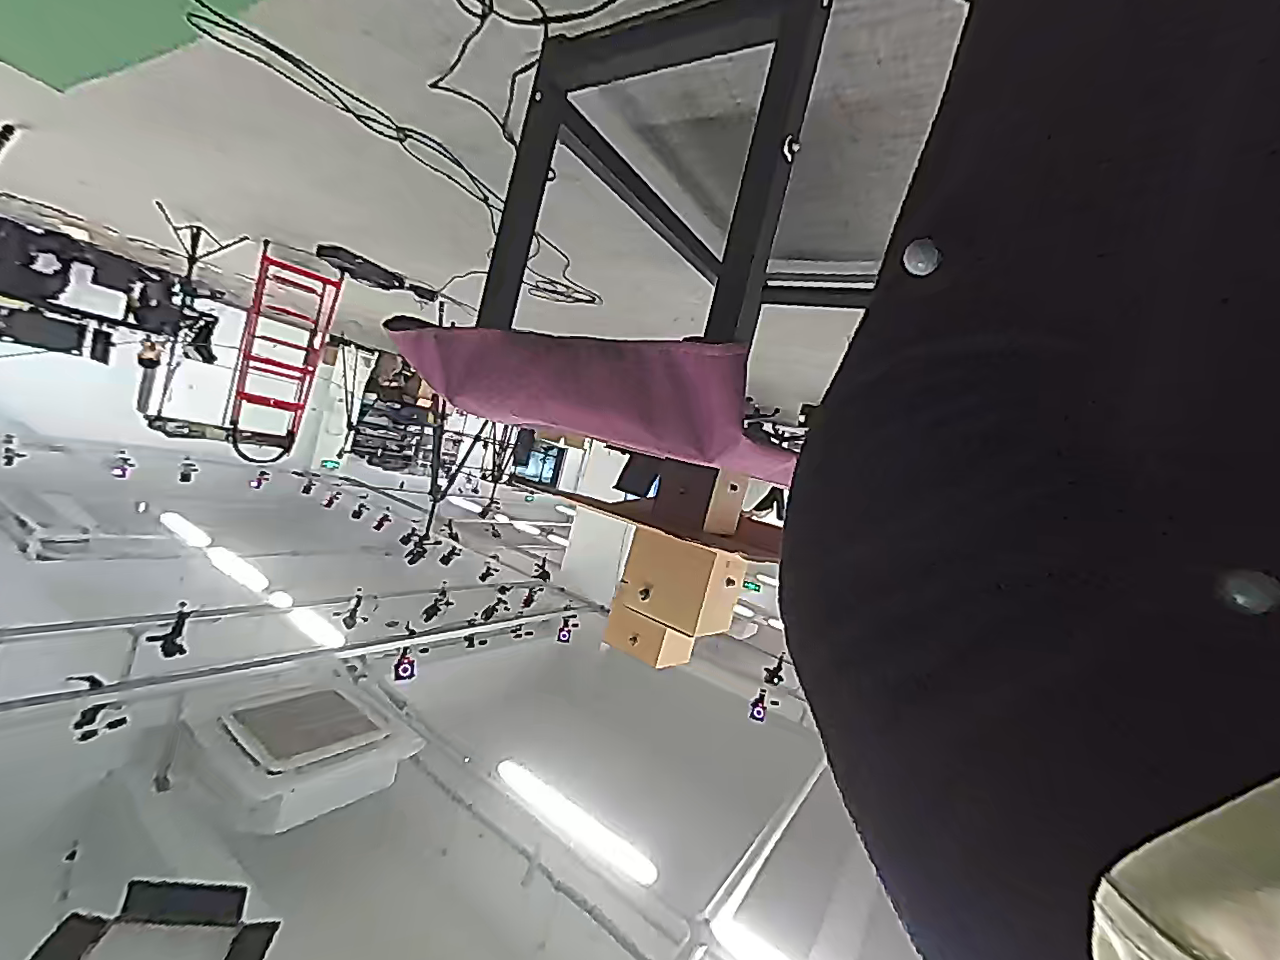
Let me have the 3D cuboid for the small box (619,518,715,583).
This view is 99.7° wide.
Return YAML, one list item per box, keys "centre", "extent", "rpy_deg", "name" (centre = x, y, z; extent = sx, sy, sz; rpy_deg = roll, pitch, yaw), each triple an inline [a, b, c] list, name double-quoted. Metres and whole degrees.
- centre: [0.077, 0.202, 1.385]
  extent: [0.179, 0.176, 0.168]
  rpy_deg: [16, 179, 35]
  name: "small box"

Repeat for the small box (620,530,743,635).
- centre: [0.090, 0.203, 1.120]
  extent: [0.179, 0.176, 0.168]
  rpy_deg: [15, 180, 34]
  name: "small box"

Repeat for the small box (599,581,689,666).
- centre: [0.027, 0.357, 1.389]
  extent: [0.179, 0.176, 0.168]
  rpy_deg: [14, 178, 36]
  name: "small box"
